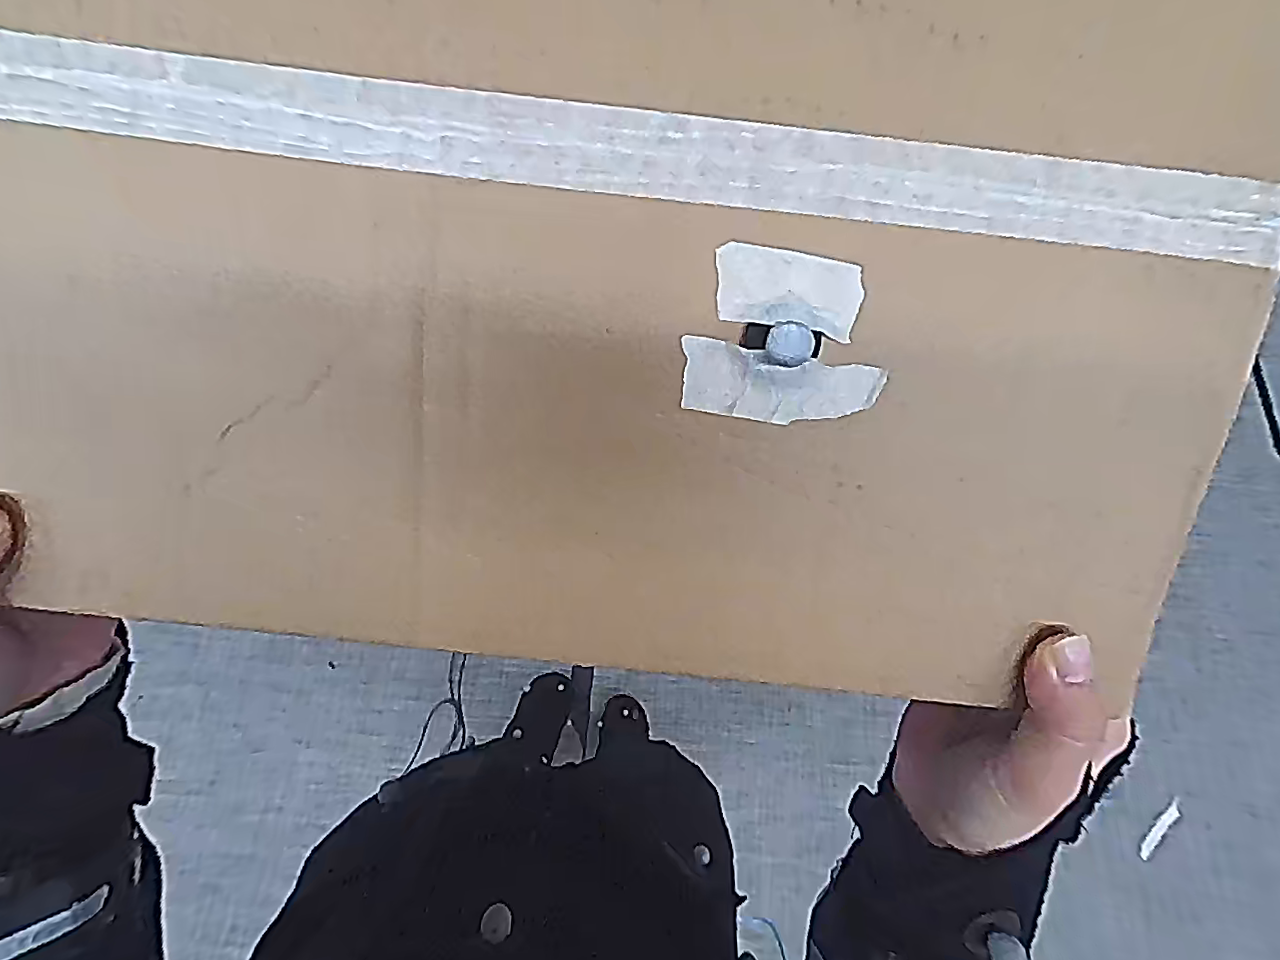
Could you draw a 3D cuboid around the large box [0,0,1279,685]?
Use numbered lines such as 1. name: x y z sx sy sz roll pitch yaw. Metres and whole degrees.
1. large box: -0.018 -0.119 0.307 0.408 0.320 0.320 6 102 -2
